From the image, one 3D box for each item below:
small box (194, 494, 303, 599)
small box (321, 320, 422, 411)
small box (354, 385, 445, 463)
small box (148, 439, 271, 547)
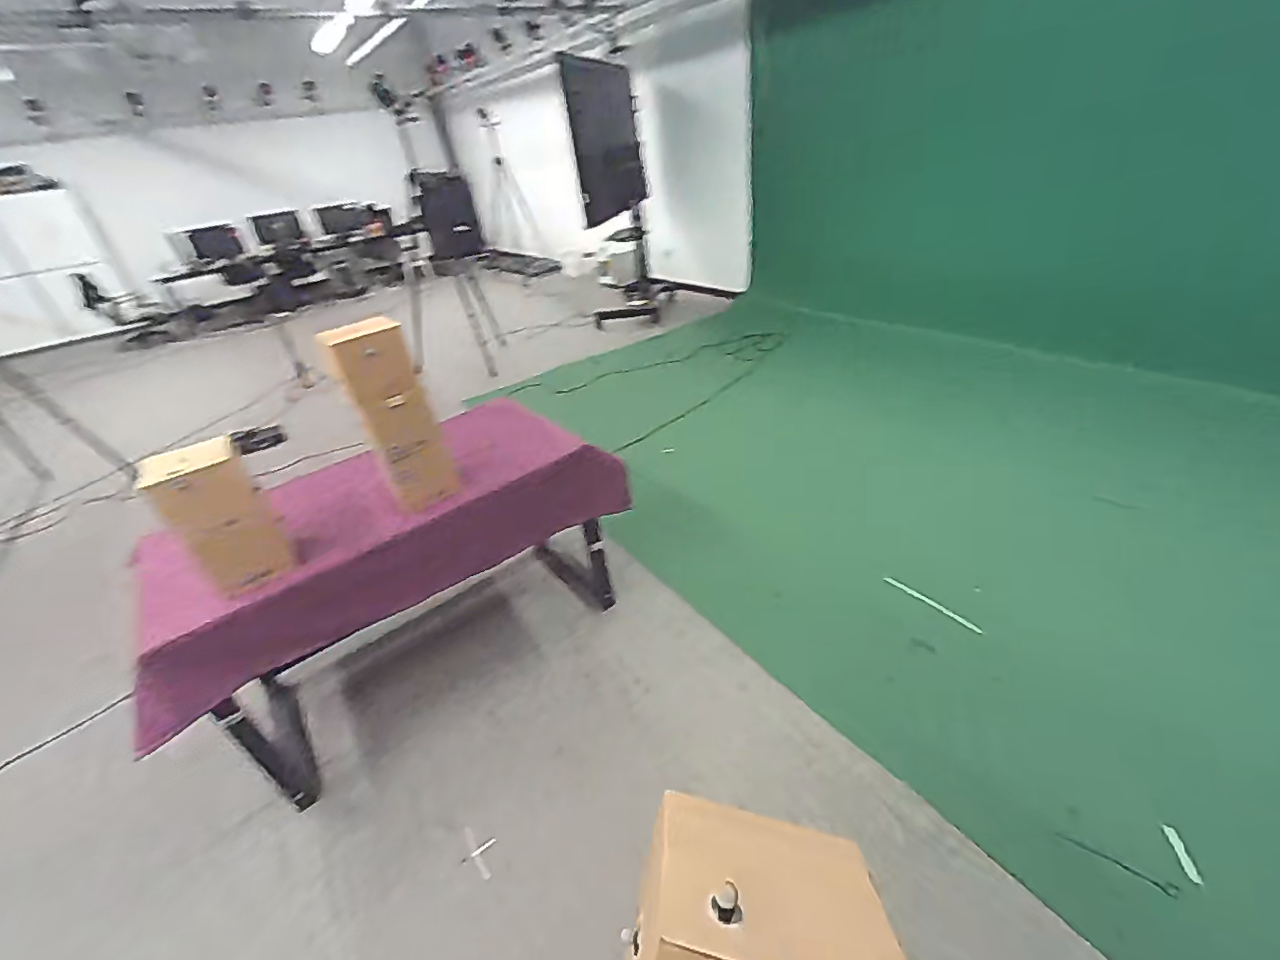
[{"bbox_3d":[-0.983,0.168,1.368,0.168,0.176,0.179,-26,36,-24],"label":"small box"},{"bbox_3d":[-0.694,-0.302,1.417,0.179,0.176,0.168,-31,38,-29],"label":"small box"},{"bbox_3d":[-0.667,-0.166,1.503,0.168,0.176,0.179,-29,36,-29],"label":"small box"},{"bbox_3d":[-1.006,0.030,1.280,0.168,0.176,0.179,-27,35,-23],"label":"small box"}]
